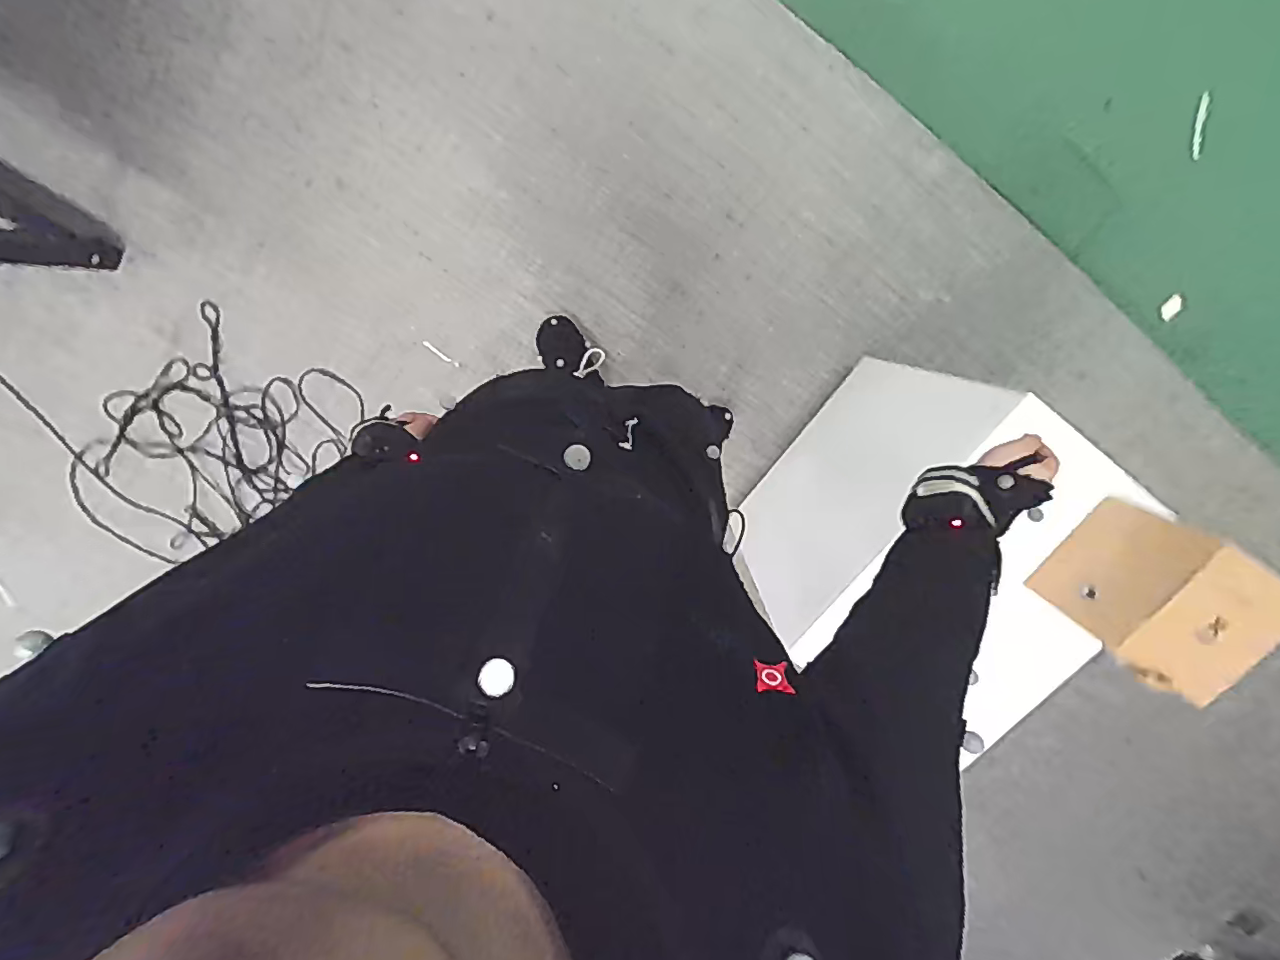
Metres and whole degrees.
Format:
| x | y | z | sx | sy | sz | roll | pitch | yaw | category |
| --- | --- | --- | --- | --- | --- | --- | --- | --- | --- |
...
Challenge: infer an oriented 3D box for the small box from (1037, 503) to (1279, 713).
| x | y | z | sx | sy | sz | roll | pitch | yaw | category |
| --- | --- | --- | --- | --- | --- | --- | --- | --- | --- |
| 0.684 | 0.161 | 0.720 | 0.168 | 0.176 | 0.179 | 30 | 105 | -10 | small box |
